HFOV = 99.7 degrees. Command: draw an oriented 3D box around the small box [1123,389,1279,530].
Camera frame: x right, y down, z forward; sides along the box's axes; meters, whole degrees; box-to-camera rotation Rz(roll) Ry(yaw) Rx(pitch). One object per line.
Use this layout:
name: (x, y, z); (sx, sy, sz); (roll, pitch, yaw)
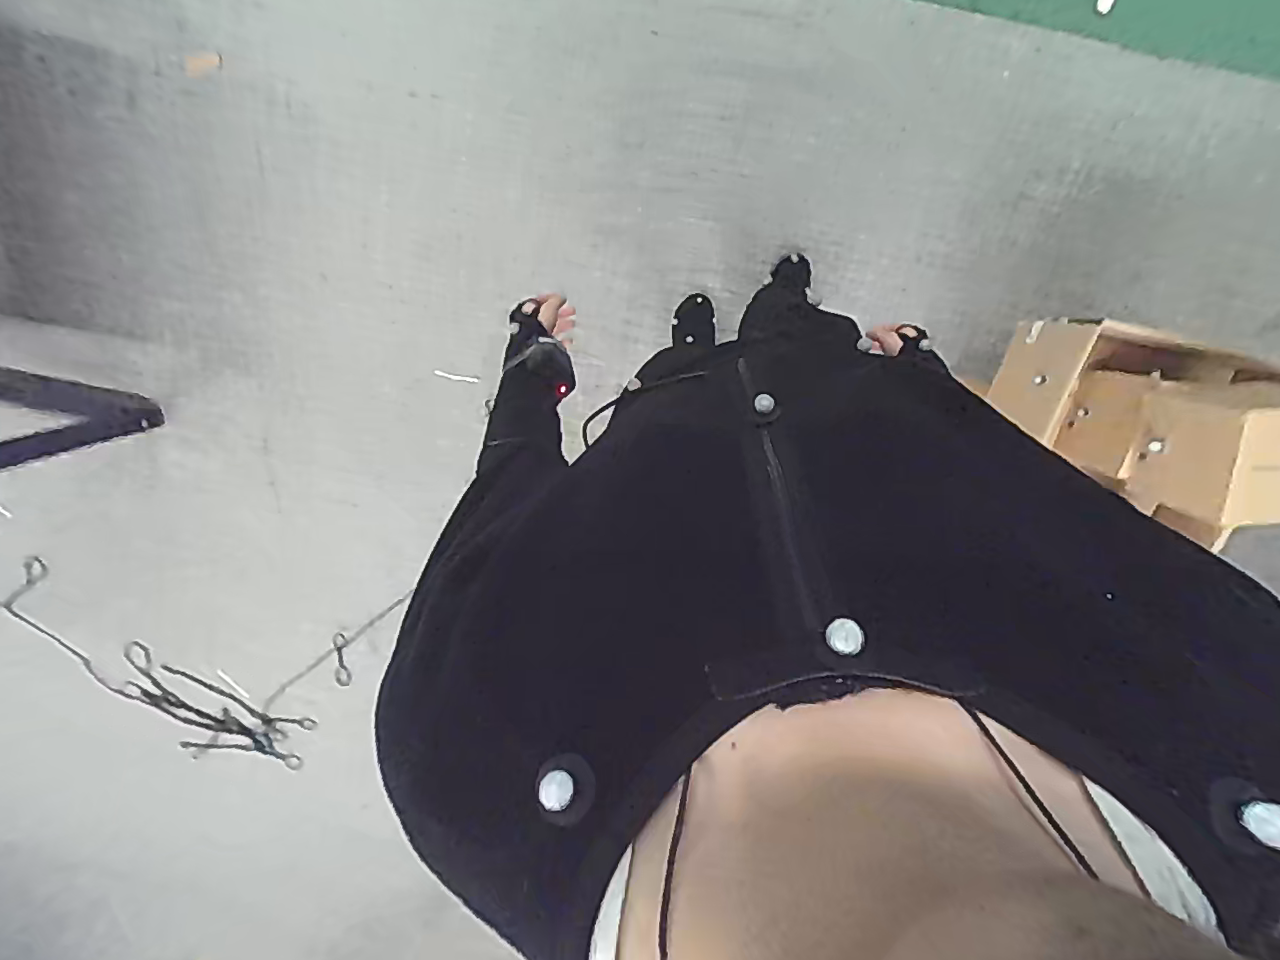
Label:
small box: (0.882, -0.037, 0.798); (0.179, 0.176, 0.168); (-4, 107, 4)
